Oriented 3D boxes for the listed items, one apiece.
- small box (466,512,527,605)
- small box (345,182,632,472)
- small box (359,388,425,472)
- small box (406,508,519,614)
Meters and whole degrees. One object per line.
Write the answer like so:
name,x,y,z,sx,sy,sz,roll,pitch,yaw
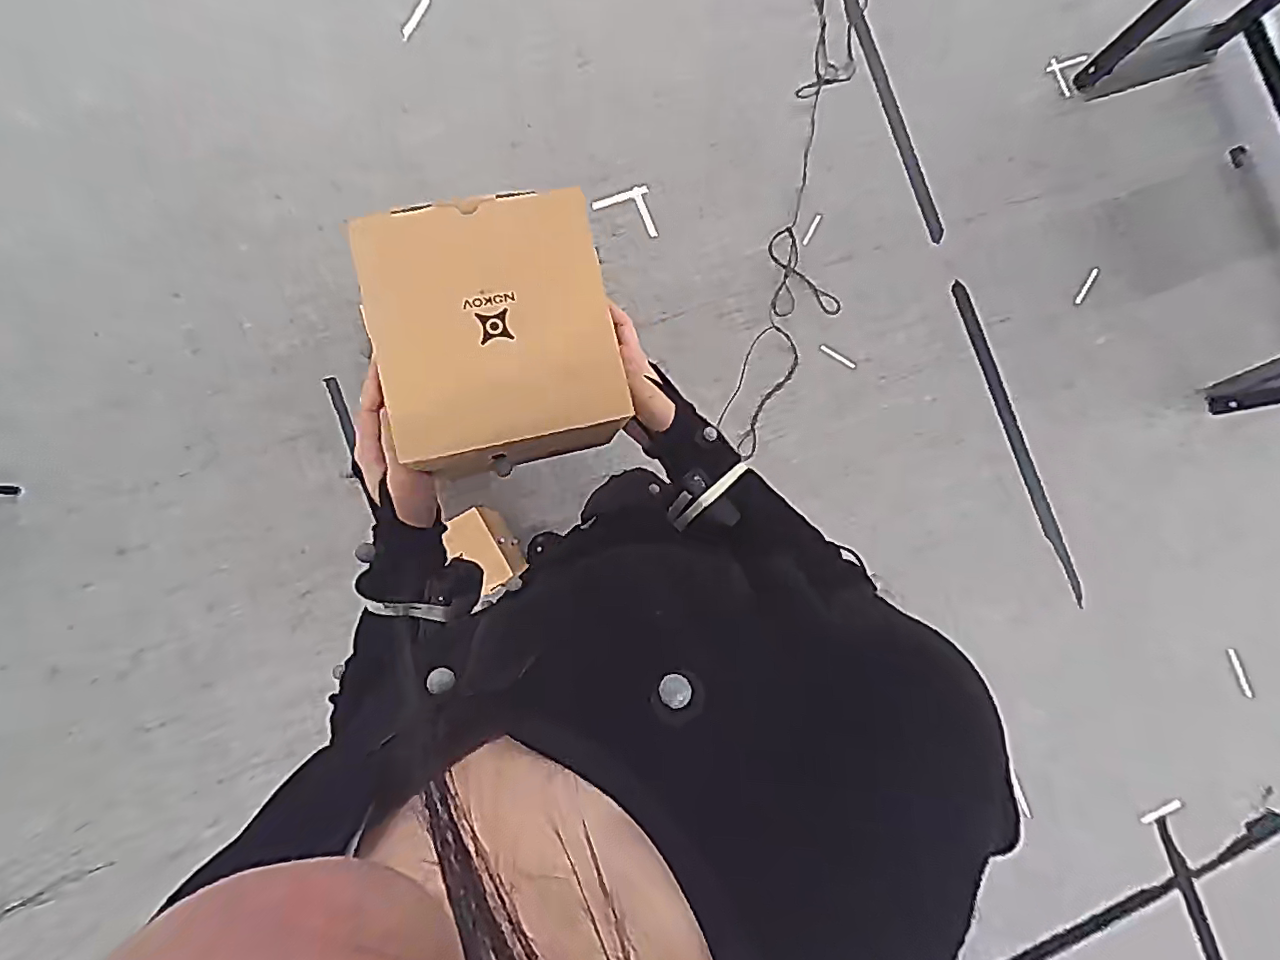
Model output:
small box,-0.406,0.193,1.392,0.168,0.176,0.179,-32,90,-8
small box,-0.113,-0.107,0.451,0.168,0.176,0.179,-14,88,-10
small box,-0.502,-0.126,1.240,0.179,0.176,0.168,-20,88,-6
small box,-0.392,0.178,1.230,0.168,0.176,0.179,-30,88,-8
